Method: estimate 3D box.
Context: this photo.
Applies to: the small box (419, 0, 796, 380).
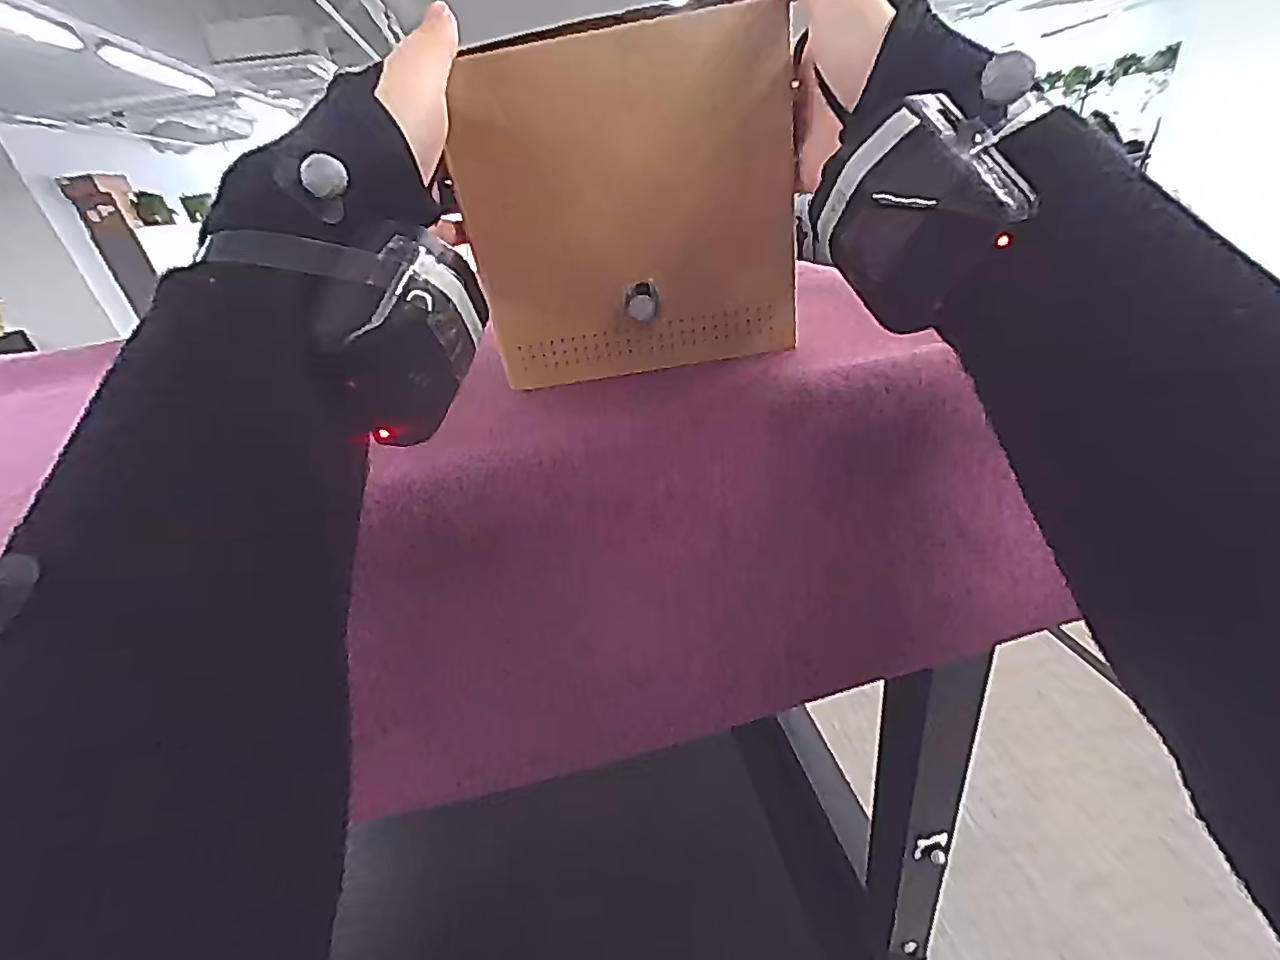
[{"bbox_3d":[-0.006,-0.178,0.351,0.179,0.176,0.168,-8,29,4],"label":"small box"}]
